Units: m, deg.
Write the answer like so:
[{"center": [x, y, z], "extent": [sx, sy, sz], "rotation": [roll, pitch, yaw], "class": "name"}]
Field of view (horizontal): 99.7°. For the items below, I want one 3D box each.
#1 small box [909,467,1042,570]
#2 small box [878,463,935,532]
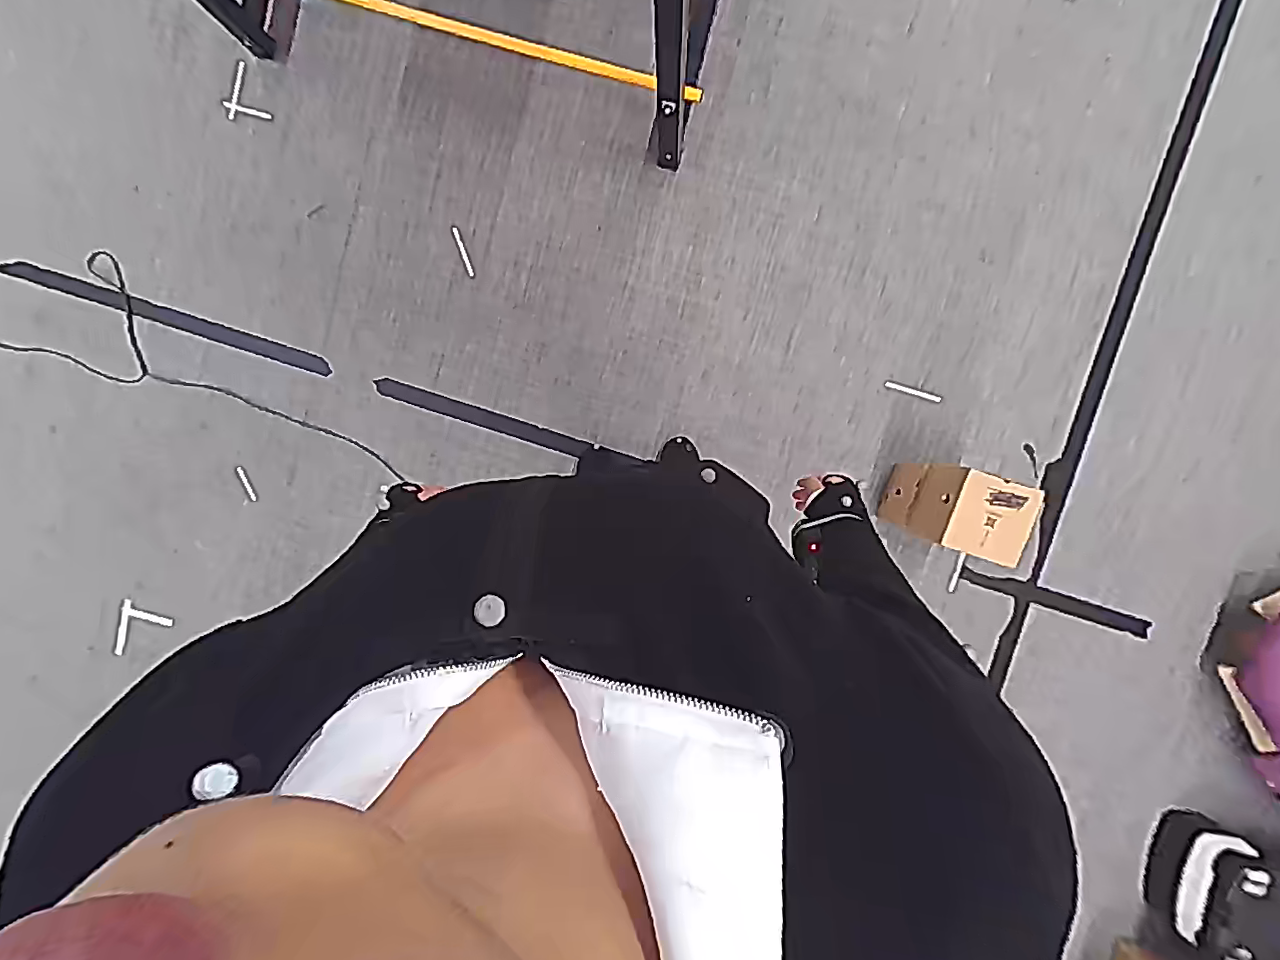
[{"center": [0.735, 0.076, 1.209], "extent": [0.168, 0.176, 0.179], "rotation": [19, 95, 1], "class": "small box"}, {"center": [0.737, 0.061, 1.374], "extent": [0.179, 0.176, 0.168], "rotation": [19, 94, 2], "class": "small box"}]
